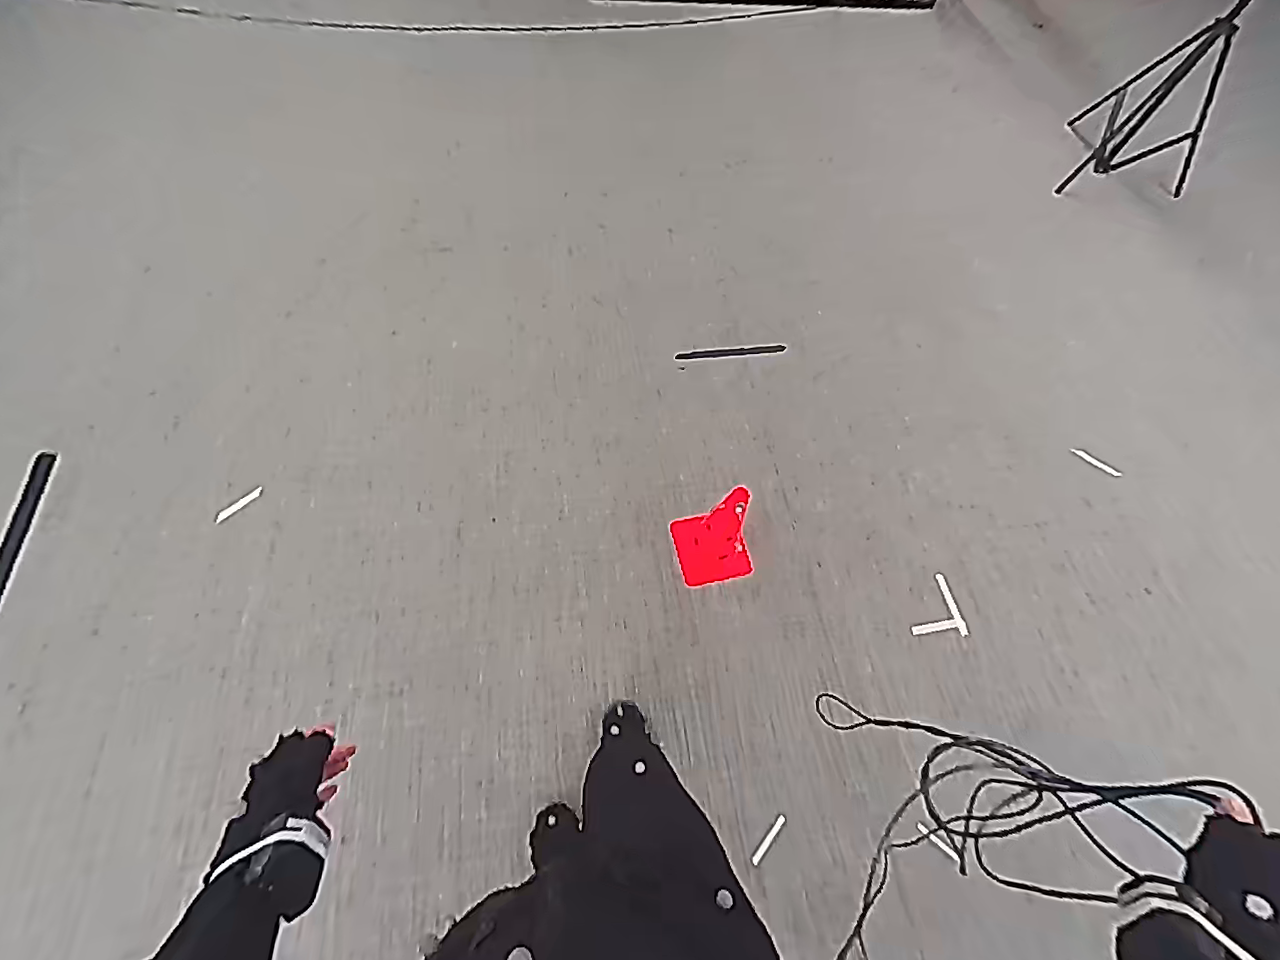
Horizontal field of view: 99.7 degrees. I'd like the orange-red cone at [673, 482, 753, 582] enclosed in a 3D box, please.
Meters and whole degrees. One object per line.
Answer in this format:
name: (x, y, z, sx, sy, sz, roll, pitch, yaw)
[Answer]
orange-red cone: (0.213, 0.102, 1.359, 0.199, 0.360, 0.198, -9, 64, -8)
